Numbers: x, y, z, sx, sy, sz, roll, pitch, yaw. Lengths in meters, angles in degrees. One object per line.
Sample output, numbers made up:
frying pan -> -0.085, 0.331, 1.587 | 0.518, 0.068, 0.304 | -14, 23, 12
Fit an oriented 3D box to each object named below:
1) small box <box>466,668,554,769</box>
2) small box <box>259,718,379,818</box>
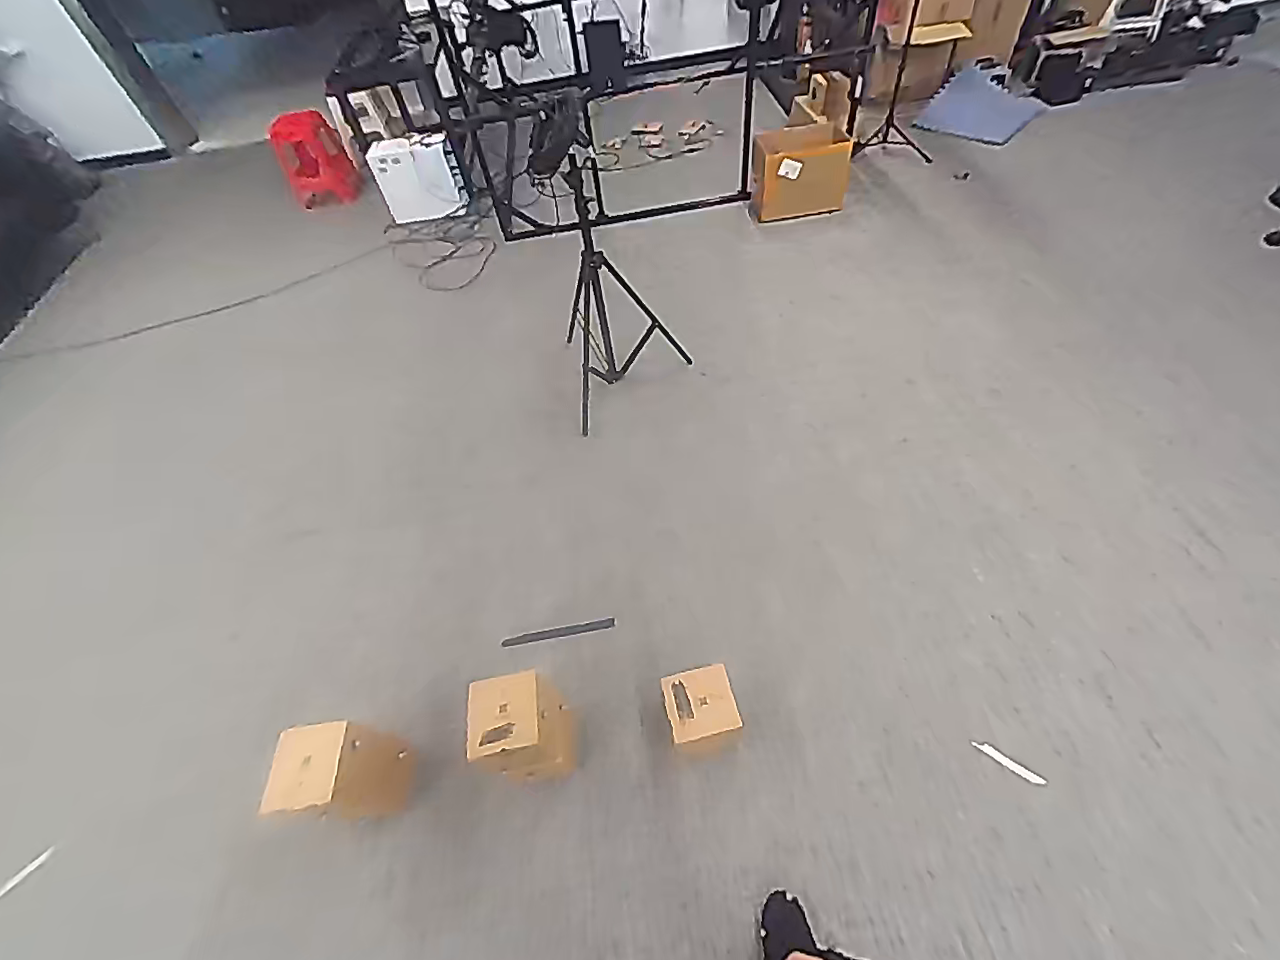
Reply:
small box -> -0.309, 0.584, 1.310 | 0.168, 0.176, 0.179 | -12, 51, -1
small box -> -0.751, 0.690, 1.289 | 0.168, 0.176, 0.179 | -9, 53, 2
